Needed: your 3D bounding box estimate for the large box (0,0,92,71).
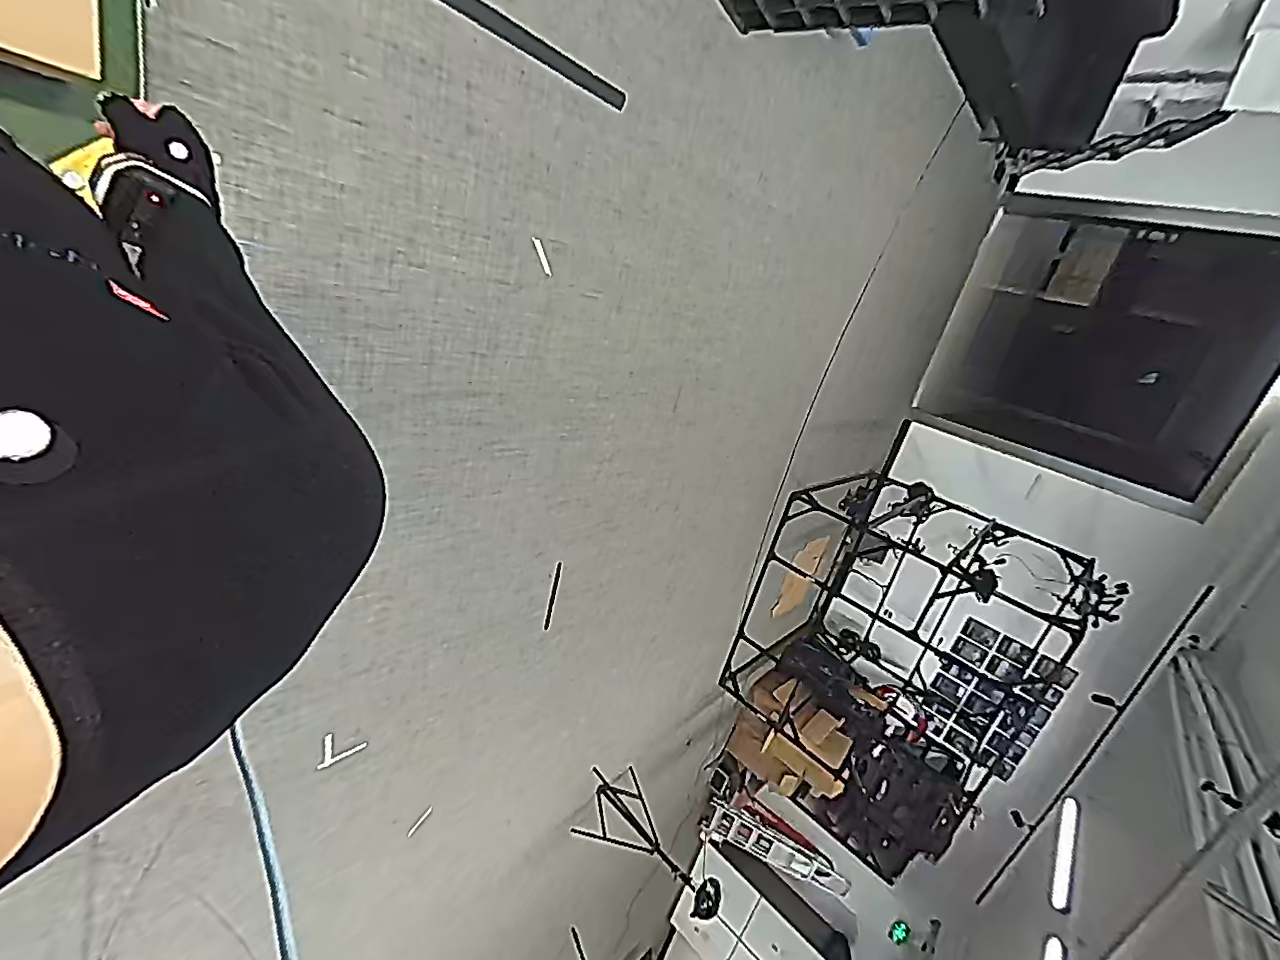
[{"bbox_3d":[-0.962,-0.744,0.630,0.408,0.320,0.320,-10,122,-51],"label":"large box"}]
